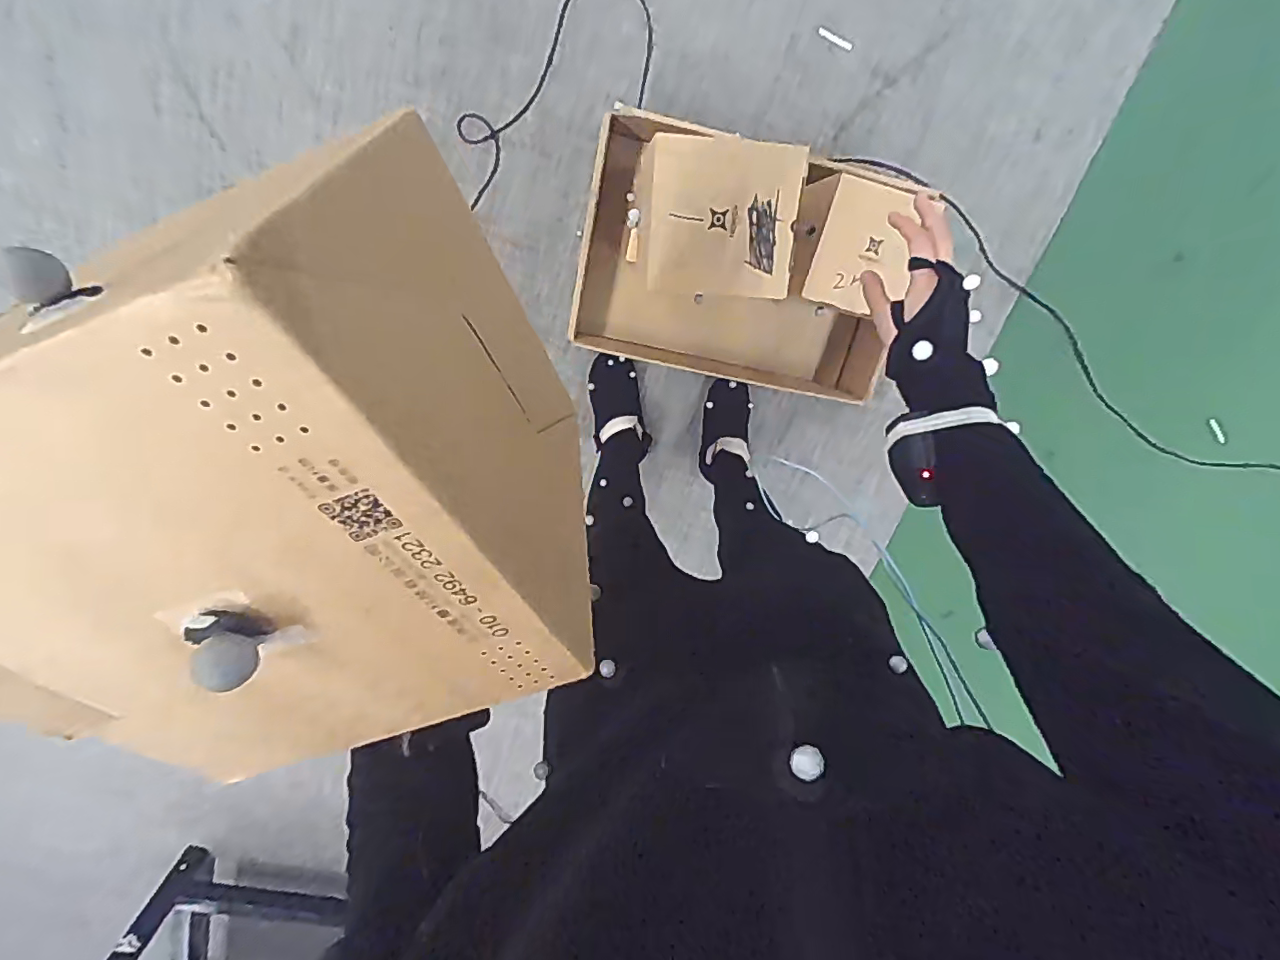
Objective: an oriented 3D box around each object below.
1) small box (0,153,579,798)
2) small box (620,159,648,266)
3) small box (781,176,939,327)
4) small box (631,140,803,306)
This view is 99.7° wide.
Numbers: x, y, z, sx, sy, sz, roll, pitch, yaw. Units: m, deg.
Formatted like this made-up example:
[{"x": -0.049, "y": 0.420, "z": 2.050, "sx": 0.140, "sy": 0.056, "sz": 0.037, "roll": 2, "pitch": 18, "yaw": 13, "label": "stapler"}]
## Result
[{"x": -0.133, "y": -0.004, "z": 0.224, "sx": 0.176, "sy": 0.179, "sz": 0.168, "roll": -20, "pitch": 132, "yaw": 8, "label": "small box"}, {"x": 0.064, "y": -0.464, "z": 0.993, "sx": 0.179, "sy": 0.176, "sz": 0.168, "roll": 10, "pitch": 111, "yaw": -10, "label": "small box"}, {"x": 0.331, "y": -0.362, "z": 0.875, "sx": 0.168, "sy": 0.176, "sz": 0.179, "roll": 12, "pitch": 110, "yaw": -8, "label": "small box"}, {"x": 0.085, "y": -0.323, "z": 0.698, "sx": 0.179, "sy": 0.176, "sz": 0.168, "roll": 1, "pitch": 112, "yaw": -6, "label": "small box"}]
